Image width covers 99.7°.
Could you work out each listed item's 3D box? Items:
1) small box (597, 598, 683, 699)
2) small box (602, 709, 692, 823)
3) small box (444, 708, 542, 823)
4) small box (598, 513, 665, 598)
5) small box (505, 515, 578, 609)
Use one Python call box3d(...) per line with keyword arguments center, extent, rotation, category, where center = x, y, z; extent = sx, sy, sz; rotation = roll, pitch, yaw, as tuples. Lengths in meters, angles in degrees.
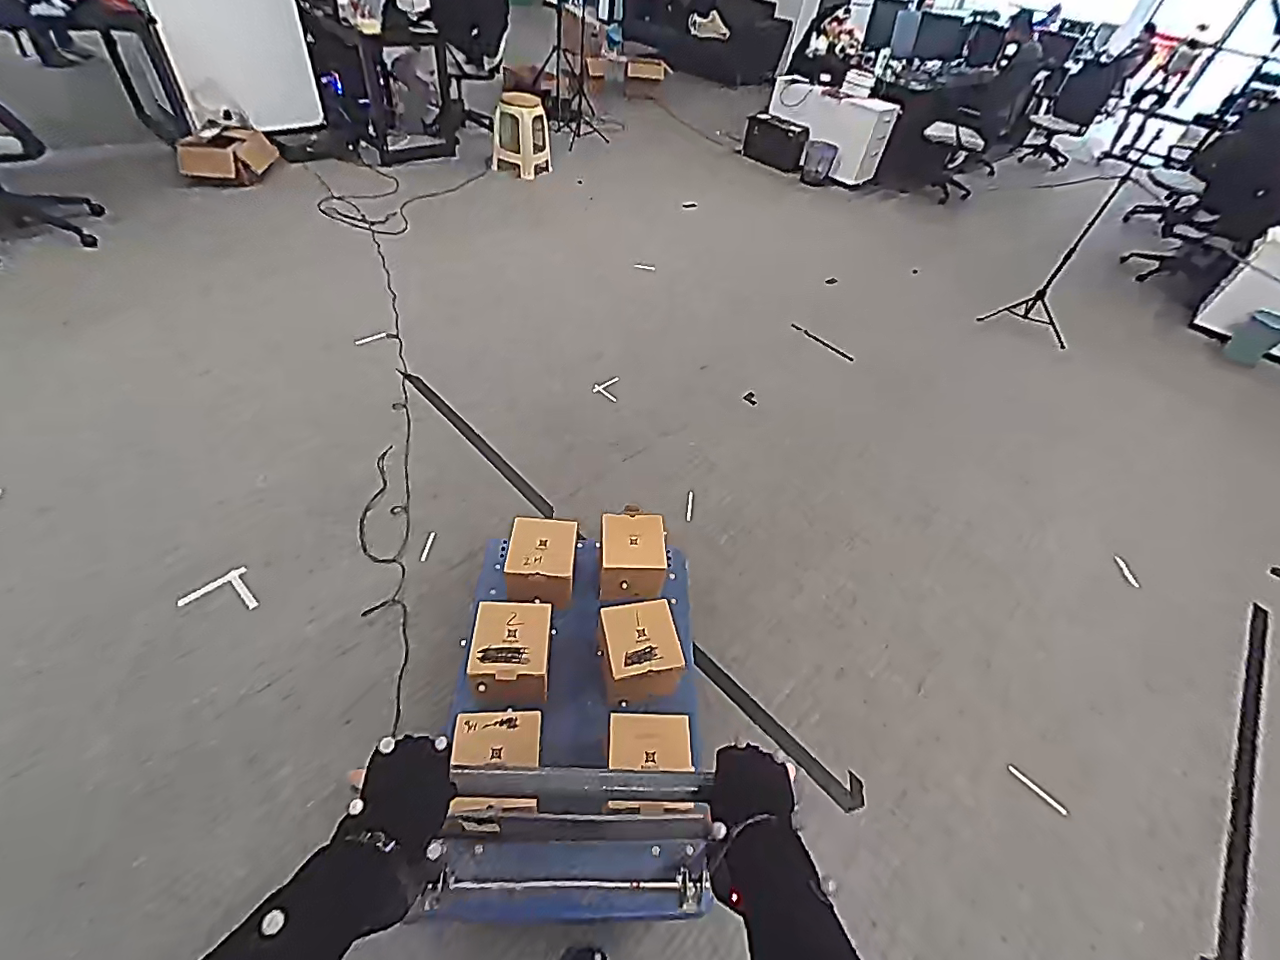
box3d(center=(-0.007, 0.410, 1.300), extent=(0.168, 0.176, 0.179), rotation=(-5, 47, -14), category="small box")
box3d(center=(0.010, 0.599, 1.126), extent=(0.168, 0.176, 0.179), rotation=(5, 46, -6), category="small box")
box3d(center=(-0.286, 0.579, 1.091), extent=(0.168, 0.176, 0.179), rotation=(2, 47, -9), category="small box")
box3d(center=(-0.028, 0.211, 1.485), extent=(0.168, 0.176, 0.179), rotation=(2, 47, -7), category="small box")
box3d(center=(-0.258, 0.219, 1.436), extent=(0.168, 0.176, 0.179), rotation=(5, 47, -4), category="small box")
